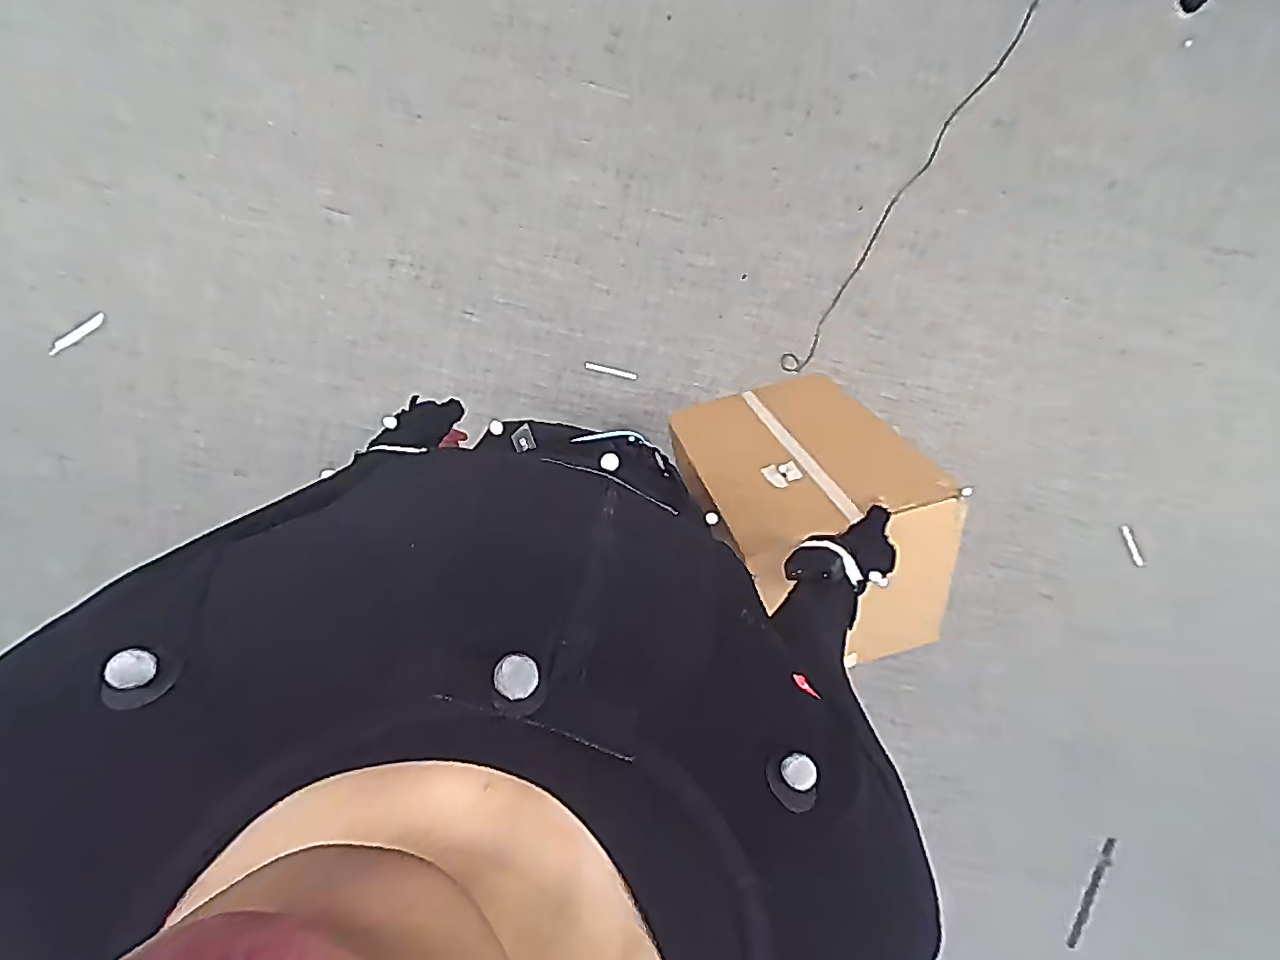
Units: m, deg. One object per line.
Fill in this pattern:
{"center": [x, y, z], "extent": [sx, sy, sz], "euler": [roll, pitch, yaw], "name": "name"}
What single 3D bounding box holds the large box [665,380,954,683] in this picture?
{"center": [0.258, 0.072, 0.964], "extent": [0.320, 0.408, 0.320], "euler": [-15, 127, -4], "name": "large box"}
